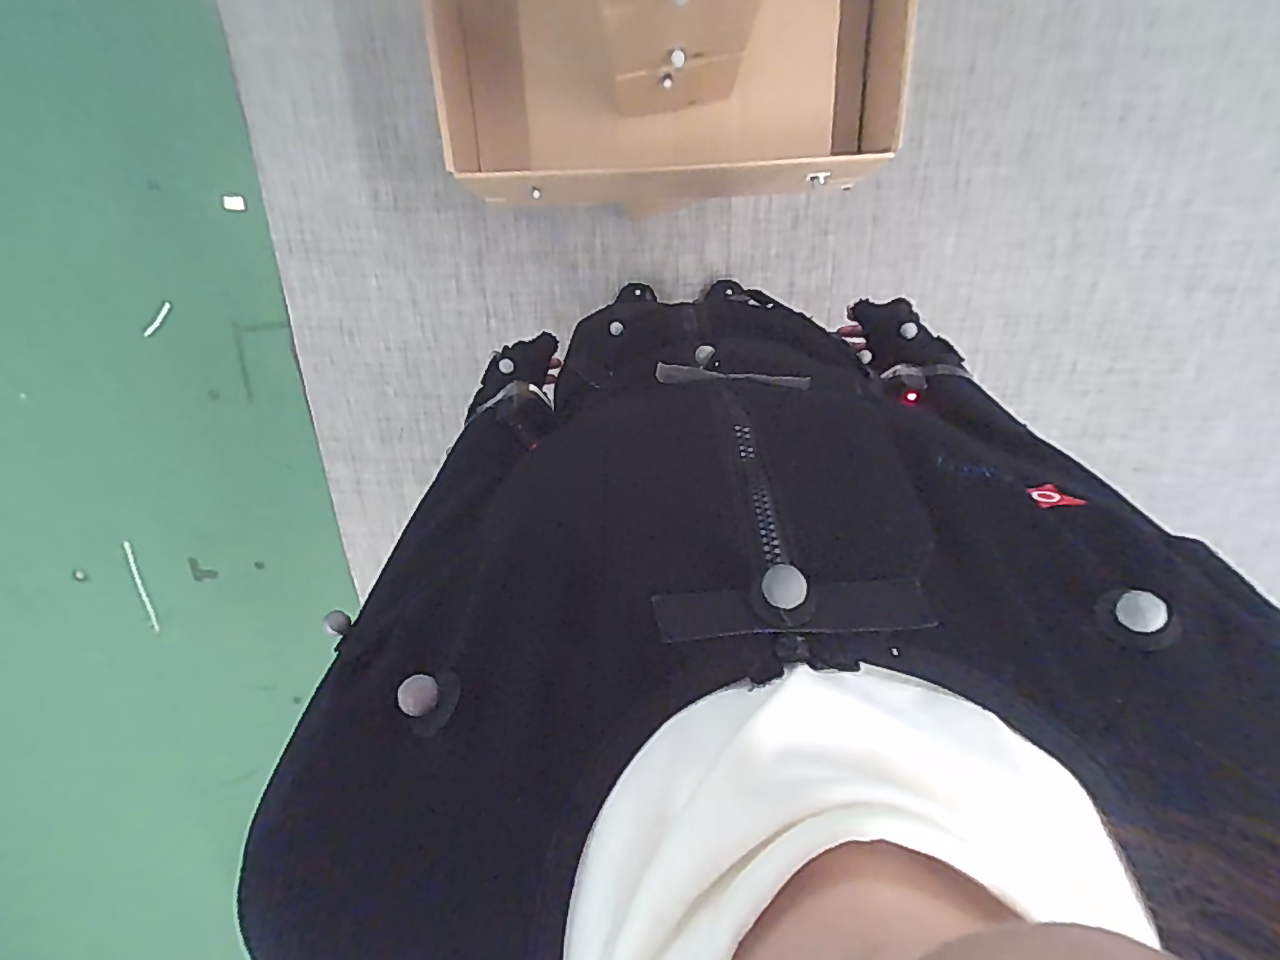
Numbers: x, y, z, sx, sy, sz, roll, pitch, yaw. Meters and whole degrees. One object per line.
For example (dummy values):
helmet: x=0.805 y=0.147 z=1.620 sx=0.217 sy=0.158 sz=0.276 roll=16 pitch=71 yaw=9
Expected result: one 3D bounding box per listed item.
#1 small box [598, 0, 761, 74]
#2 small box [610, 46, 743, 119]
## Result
small box: x=0.033 y=-0.570 z=0.569 sx=0.168 sy=0.176 sz=0.179 roll=-6 pitch=110 yaw=5
small box: x=0.040 y=-0.622 z=0.724 sx=0.168 sy=0.176 sz=0.179 roll=-7 pitch=108 yaw=6
